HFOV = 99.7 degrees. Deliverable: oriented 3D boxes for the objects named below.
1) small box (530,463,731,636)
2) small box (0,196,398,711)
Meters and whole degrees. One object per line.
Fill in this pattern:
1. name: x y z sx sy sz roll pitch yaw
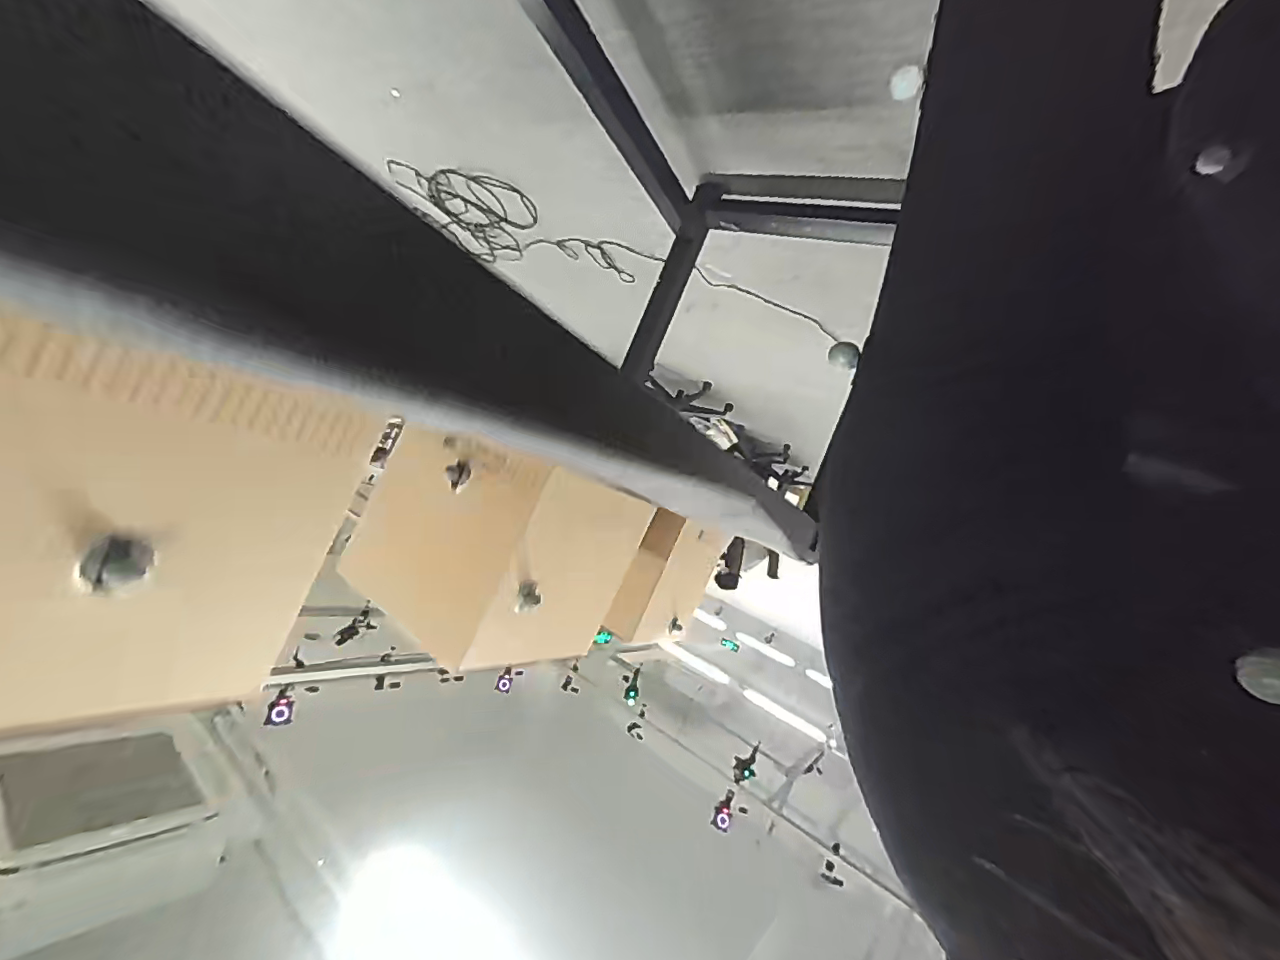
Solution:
1. small box: -0.006 0.087 0.722 0.179 0.176 0.168 25 180 29
2. small box: -0.254 -0.020 0.244 0.168 0.176 0.179 27 -177 30
